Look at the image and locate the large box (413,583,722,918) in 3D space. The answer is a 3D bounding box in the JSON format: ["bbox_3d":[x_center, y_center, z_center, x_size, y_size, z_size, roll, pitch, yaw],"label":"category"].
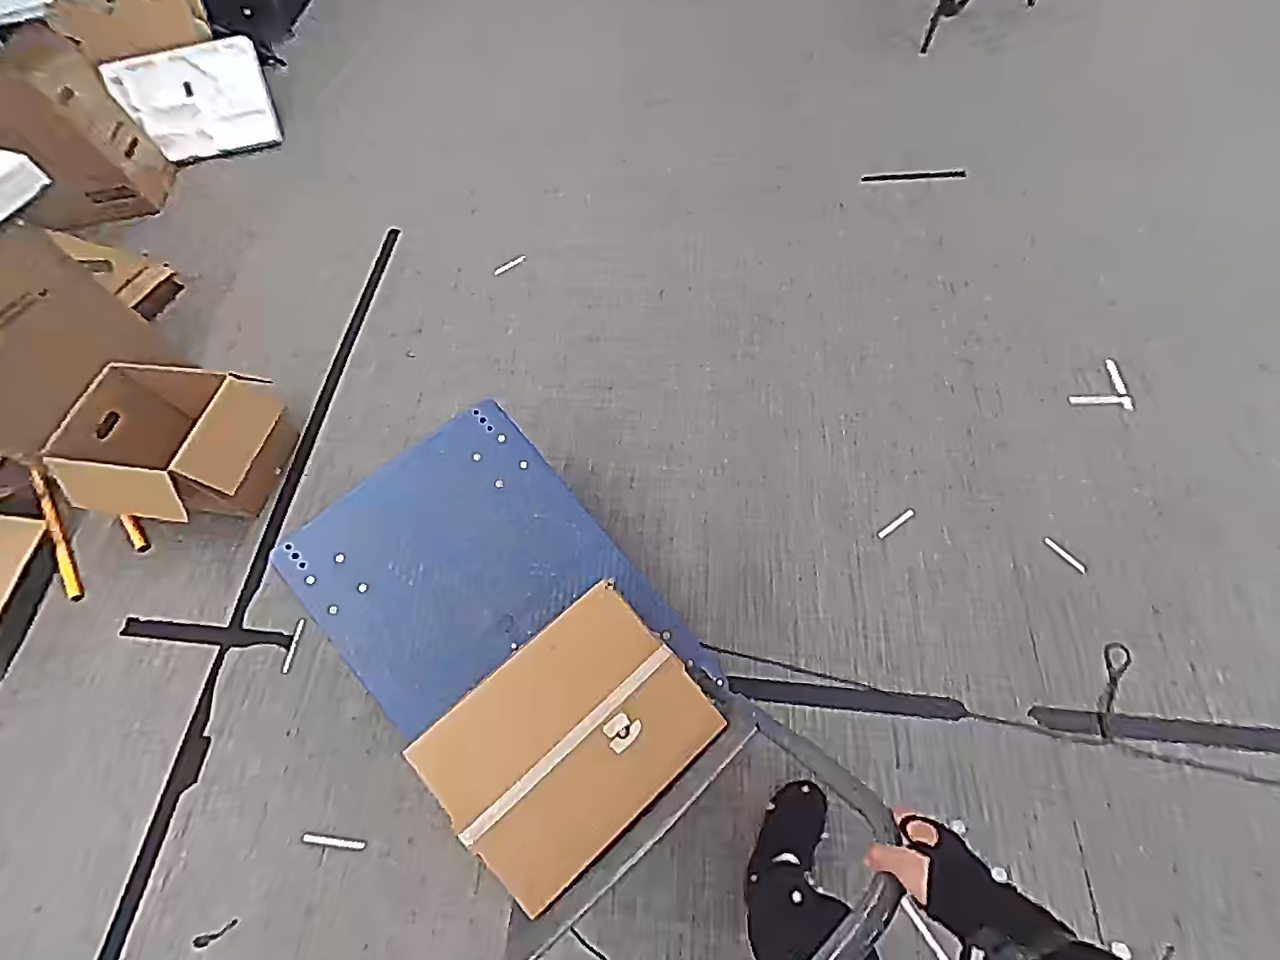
[{"bbox_3d":[-0.125,0.446,0.998,0.408,0.320,0.320,-40,86,-14],"label":"large box"}]
